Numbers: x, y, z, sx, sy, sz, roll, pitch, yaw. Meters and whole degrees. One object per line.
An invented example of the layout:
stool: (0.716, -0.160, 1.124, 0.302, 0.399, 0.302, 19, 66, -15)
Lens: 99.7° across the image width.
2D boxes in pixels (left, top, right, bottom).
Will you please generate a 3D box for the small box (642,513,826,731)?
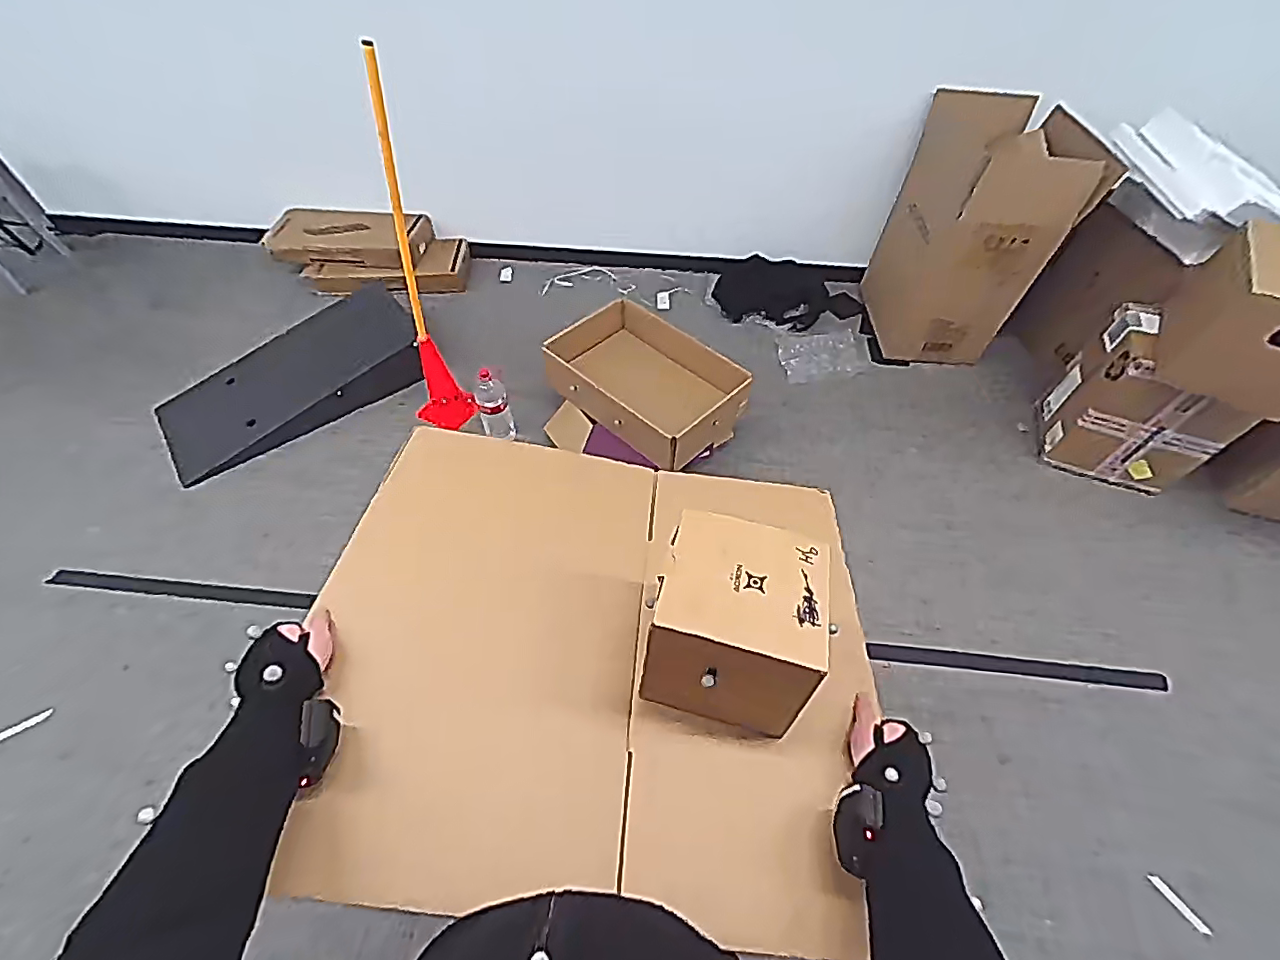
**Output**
small box: (0.106, 0.168, 0.639, 0.179, 0.176, 0.168, 13, 45, 9)
